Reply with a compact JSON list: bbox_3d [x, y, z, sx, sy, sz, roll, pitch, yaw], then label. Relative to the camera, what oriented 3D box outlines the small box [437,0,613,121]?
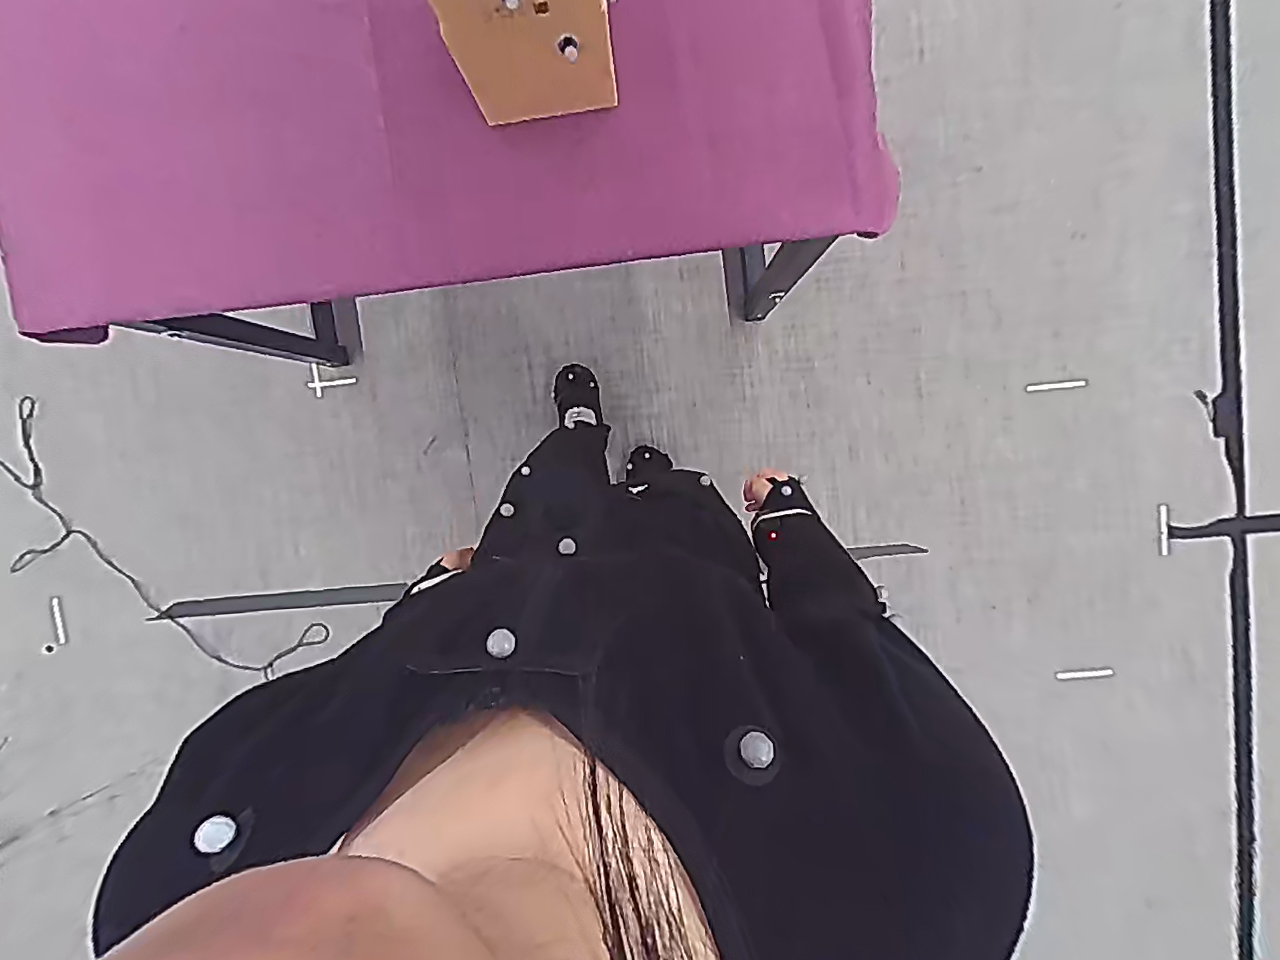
[{"bbox_3d":[-0.127,-0.558,0.629,0.179,0.176,0.168,-7,94,3],"label":"small box"}]
